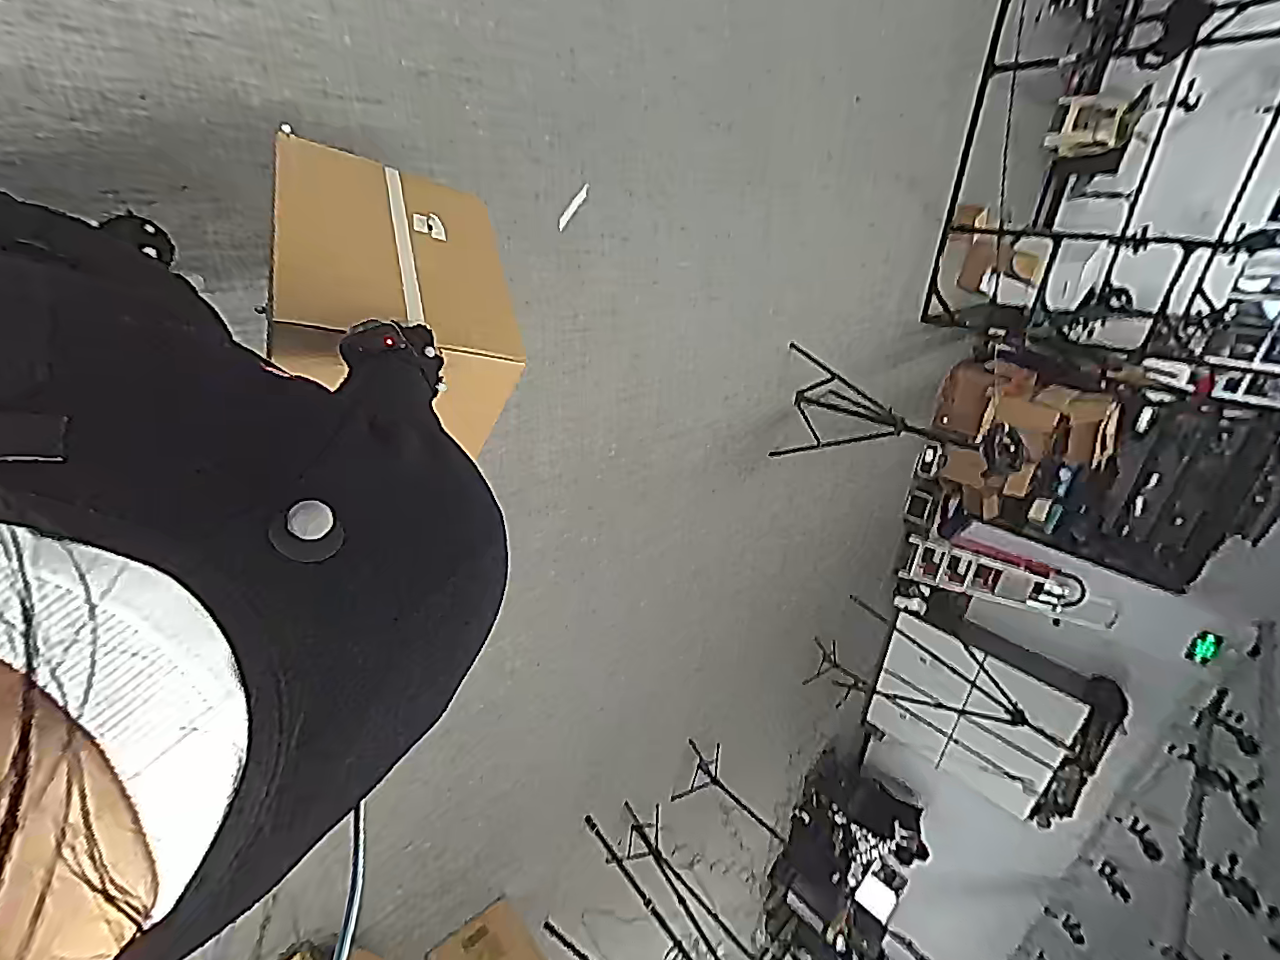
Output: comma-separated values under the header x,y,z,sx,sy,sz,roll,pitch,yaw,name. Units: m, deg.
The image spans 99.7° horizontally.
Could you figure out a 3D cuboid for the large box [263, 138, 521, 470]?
x,y,z,sx,sy,sz,roll,pitch,yaw,name
-0.438,-0.262,0.904,0.320,0.408,0.320,1,145,-37,large box
